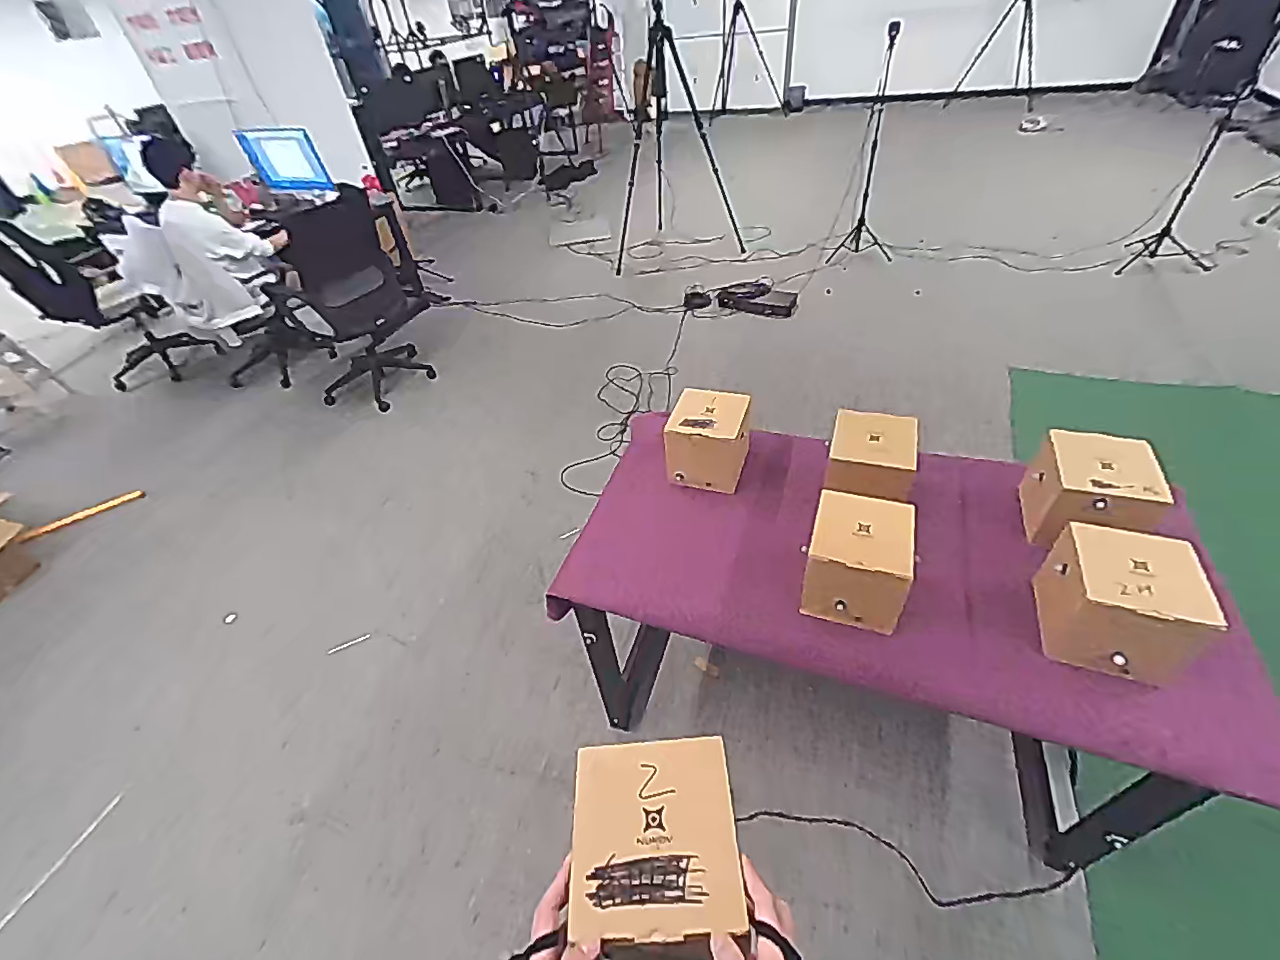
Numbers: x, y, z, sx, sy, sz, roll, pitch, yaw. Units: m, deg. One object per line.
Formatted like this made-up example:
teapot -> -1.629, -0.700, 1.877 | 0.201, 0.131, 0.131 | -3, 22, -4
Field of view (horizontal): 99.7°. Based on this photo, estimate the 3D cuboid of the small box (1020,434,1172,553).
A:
small box -> 0.876, 0.036, 1.062 | 0.168, 0.176, 0.179 | 10, 45, 19

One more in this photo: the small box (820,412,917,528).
small box -> 0.497, -0.024, 1.185 | 0.168, 0.176, 0.179 | 10, 46, 20

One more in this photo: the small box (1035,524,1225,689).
small box -> 0.779, 0.205, 0.887 | 0.168, 0.176, 0.179 | 11, 44, 21

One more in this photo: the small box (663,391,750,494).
small box -> 0.165, -0.090, 1.301 | 0.168, 0.176, 0.179 | 10, 45, 18
